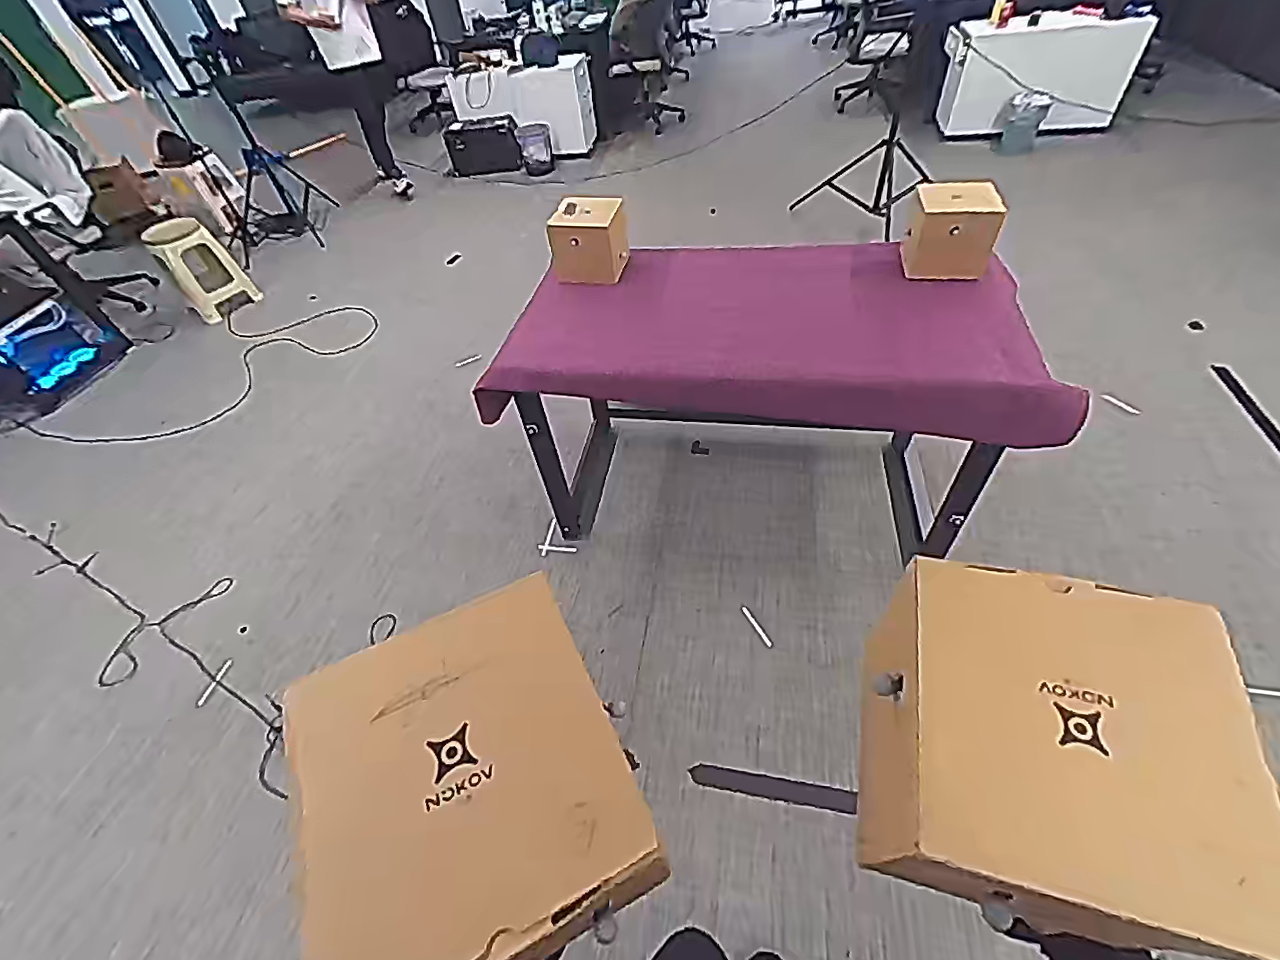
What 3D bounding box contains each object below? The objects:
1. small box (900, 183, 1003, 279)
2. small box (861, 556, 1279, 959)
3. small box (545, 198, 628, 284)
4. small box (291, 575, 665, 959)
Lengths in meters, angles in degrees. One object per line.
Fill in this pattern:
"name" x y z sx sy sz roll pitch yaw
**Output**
"small box" 0.763 -0.619 1.351 0.179 0.176 0.168 5 51 11
"small box" 0.251 0.178 0.361 0.168 0.176 0.179 8 54 16
"small box" -0.143 -0.669 1.518 0.179 0.176 0.168 7 52 12
"small box" -0.091 0.201 0.352 0.168 0.176 0.179 -23 52 -15
